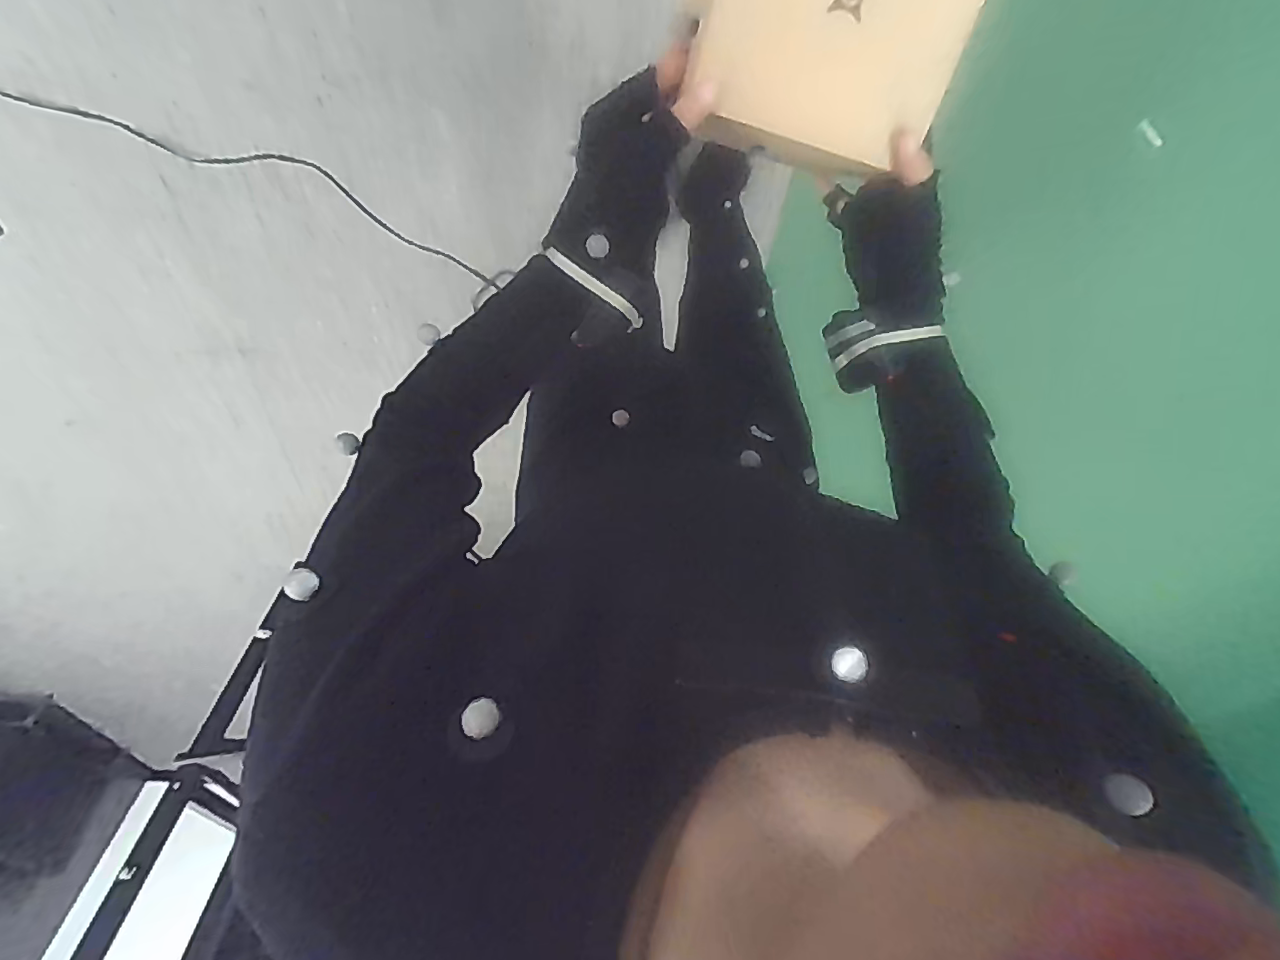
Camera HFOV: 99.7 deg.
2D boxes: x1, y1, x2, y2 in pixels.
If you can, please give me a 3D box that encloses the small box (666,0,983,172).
[{"bbox_3d":[0.122,-0.341,0.388,0.168,0.176,0.179,10,118,-12],"label":"small box"}]
